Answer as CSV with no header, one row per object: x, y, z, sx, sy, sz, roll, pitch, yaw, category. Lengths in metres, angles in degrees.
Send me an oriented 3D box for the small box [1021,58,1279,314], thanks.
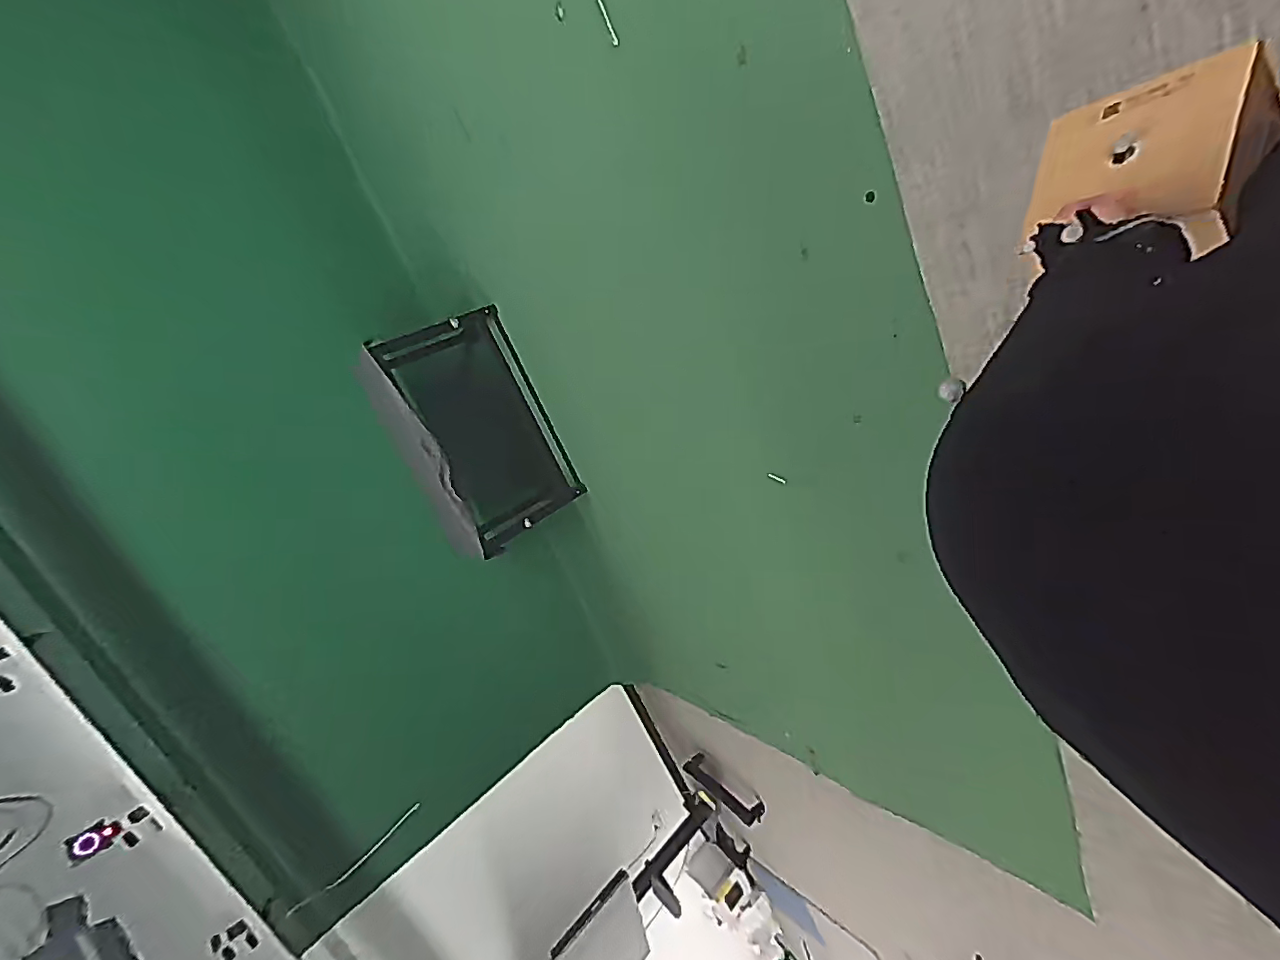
0.566,-0.312,0.598,0.179,0.176,0.168,20,176,-30,small box
